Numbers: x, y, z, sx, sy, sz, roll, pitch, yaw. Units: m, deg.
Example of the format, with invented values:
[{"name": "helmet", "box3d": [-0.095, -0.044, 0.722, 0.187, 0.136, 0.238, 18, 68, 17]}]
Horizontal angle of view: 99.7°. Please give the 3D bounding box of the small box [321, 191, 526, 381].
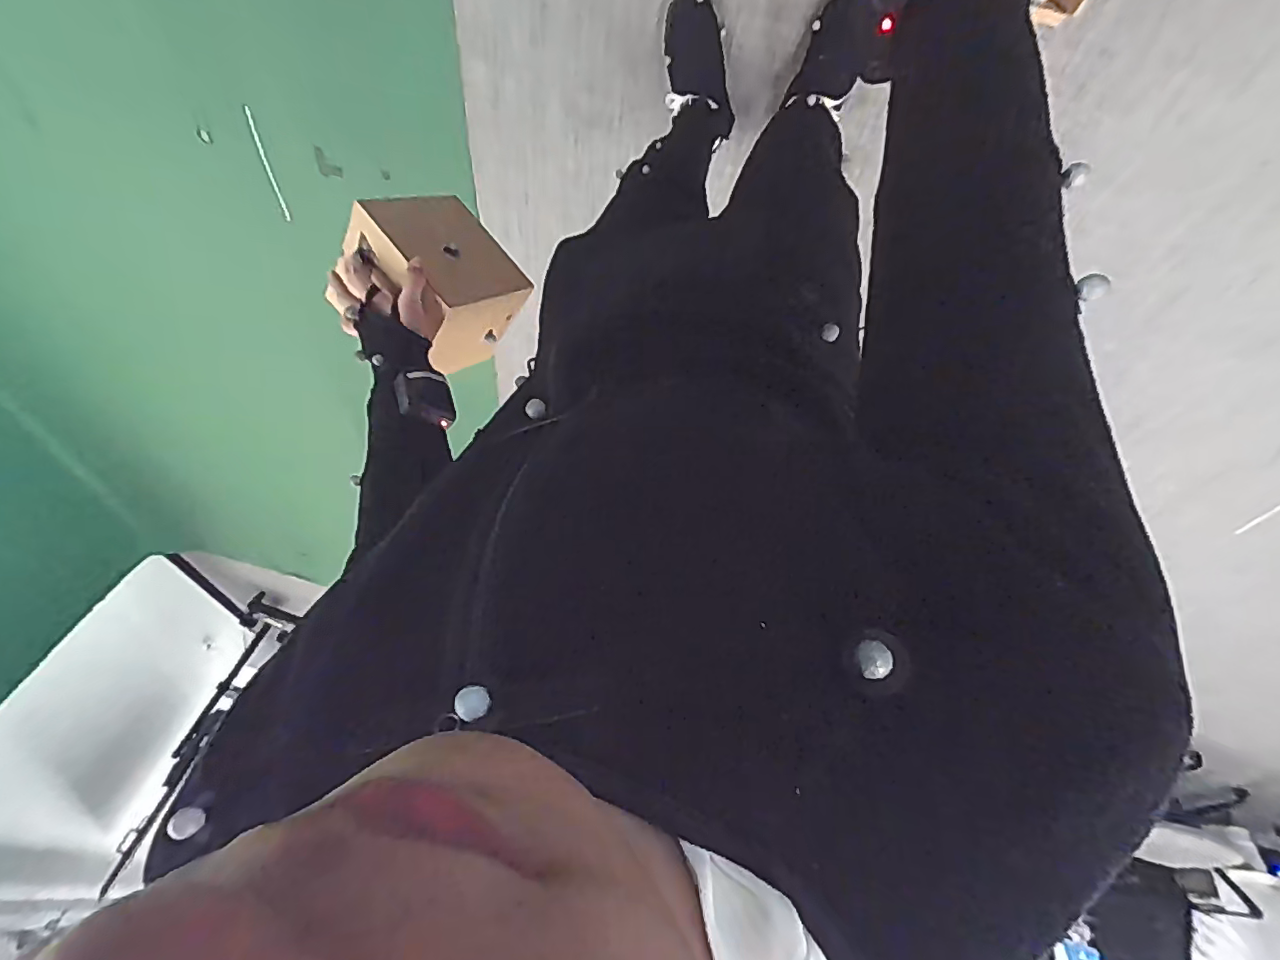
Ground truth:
[{"name": "small box", "box3d": [-0.298, -0.274, 0.757, 0.179, 0.176, 0.168, 48, 130, -3]}]
